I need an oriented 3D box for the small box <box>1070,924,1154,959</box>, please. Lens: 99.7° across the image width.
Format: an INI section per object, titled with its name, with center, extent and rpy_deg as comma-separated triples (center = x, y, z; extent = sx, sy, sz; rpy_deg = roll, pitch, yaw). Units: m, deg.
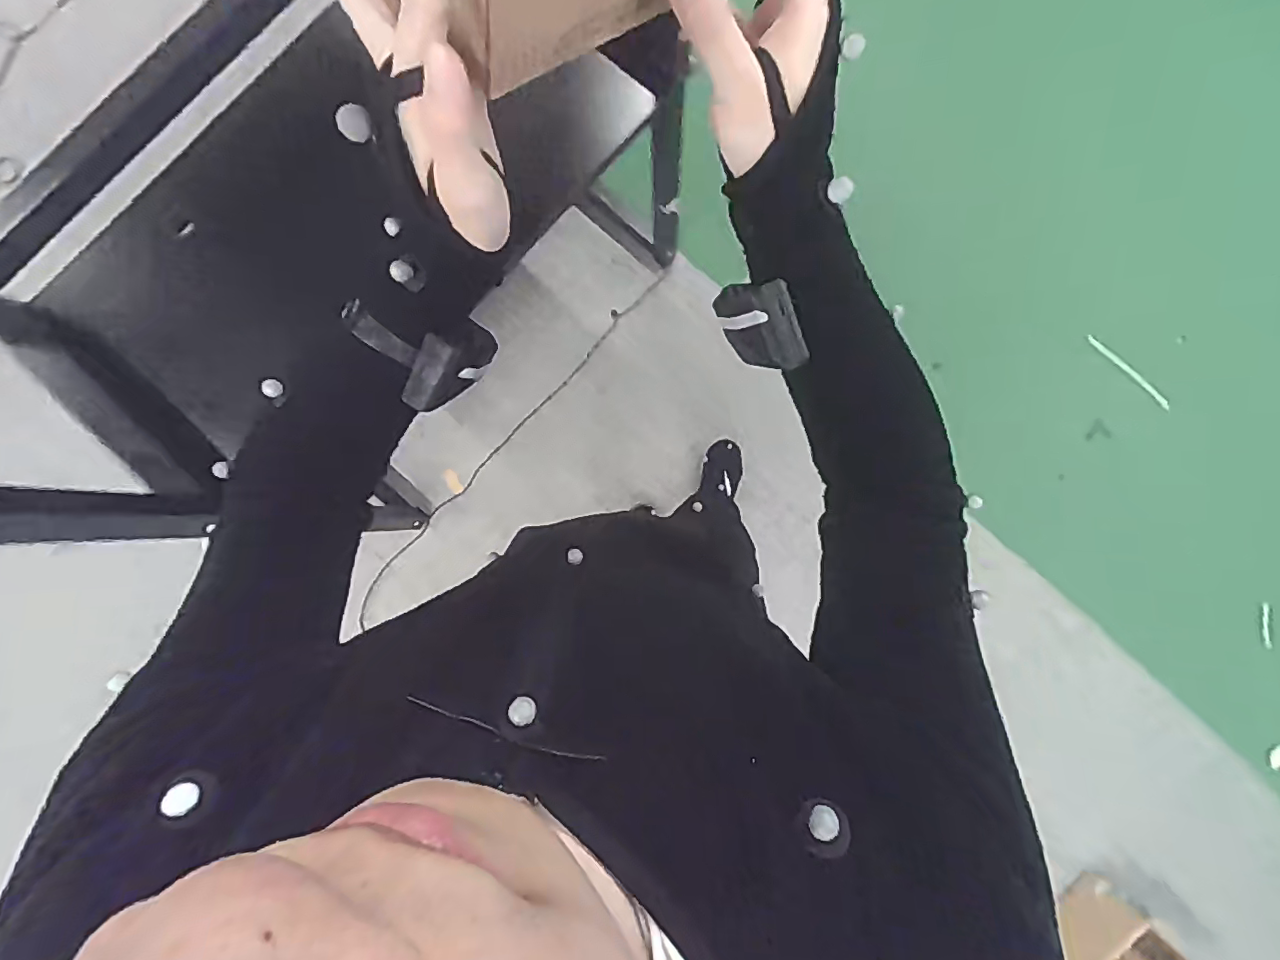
[small box]
center = 1.285, 1.314, 1.403
extent = 0.179, 0.176, 0.168
rpy_deg = 43, 89, 4
